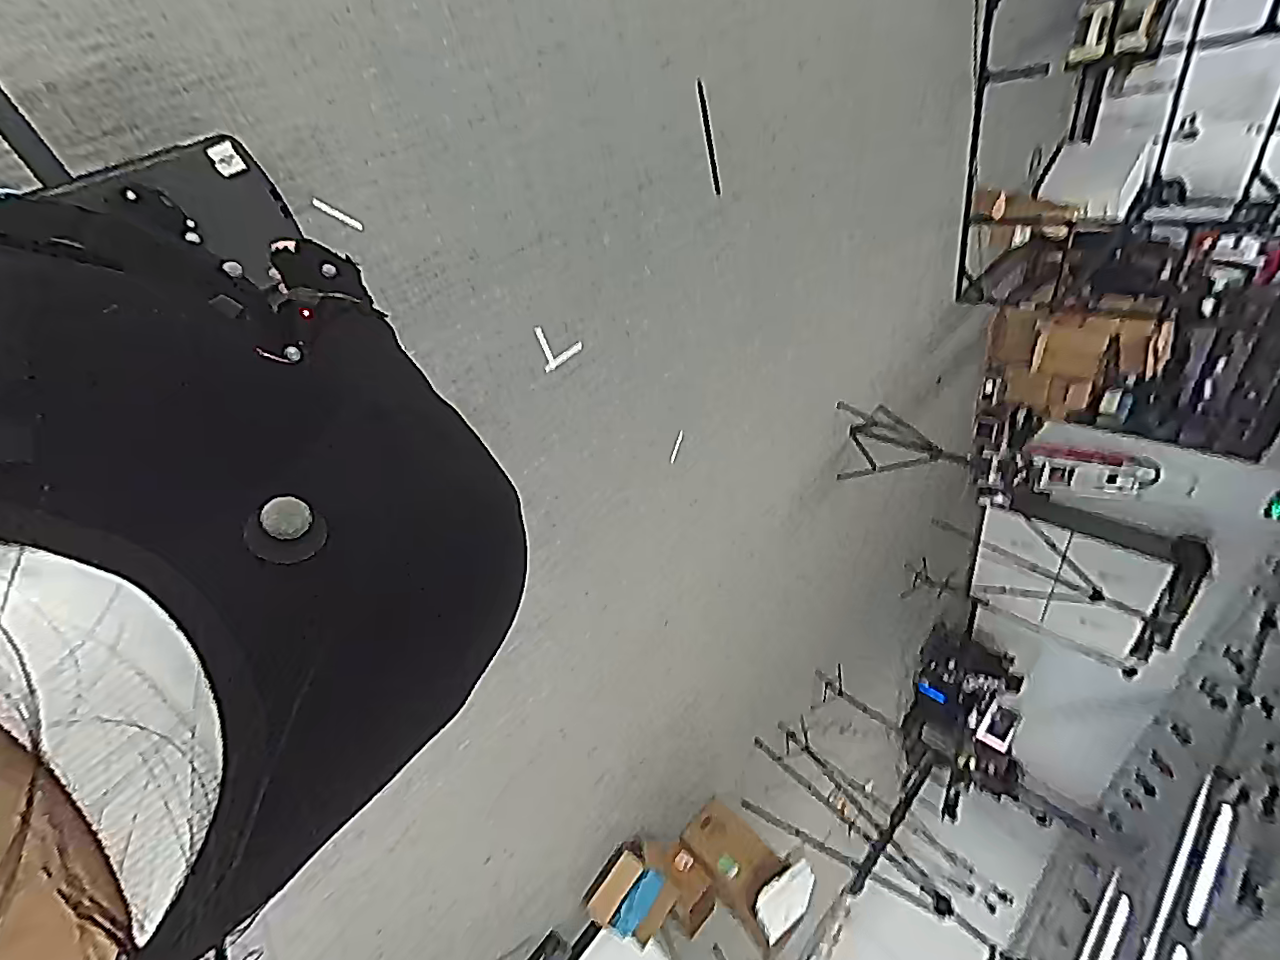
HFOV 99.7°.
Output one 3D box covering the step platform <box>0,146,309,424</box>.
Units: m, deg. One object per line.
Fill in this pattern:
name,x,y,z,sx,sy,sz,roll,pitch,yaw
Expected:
step platform,-1.052,-0.402,1.073,0.684,0.204,0.286,-42,134,-25
